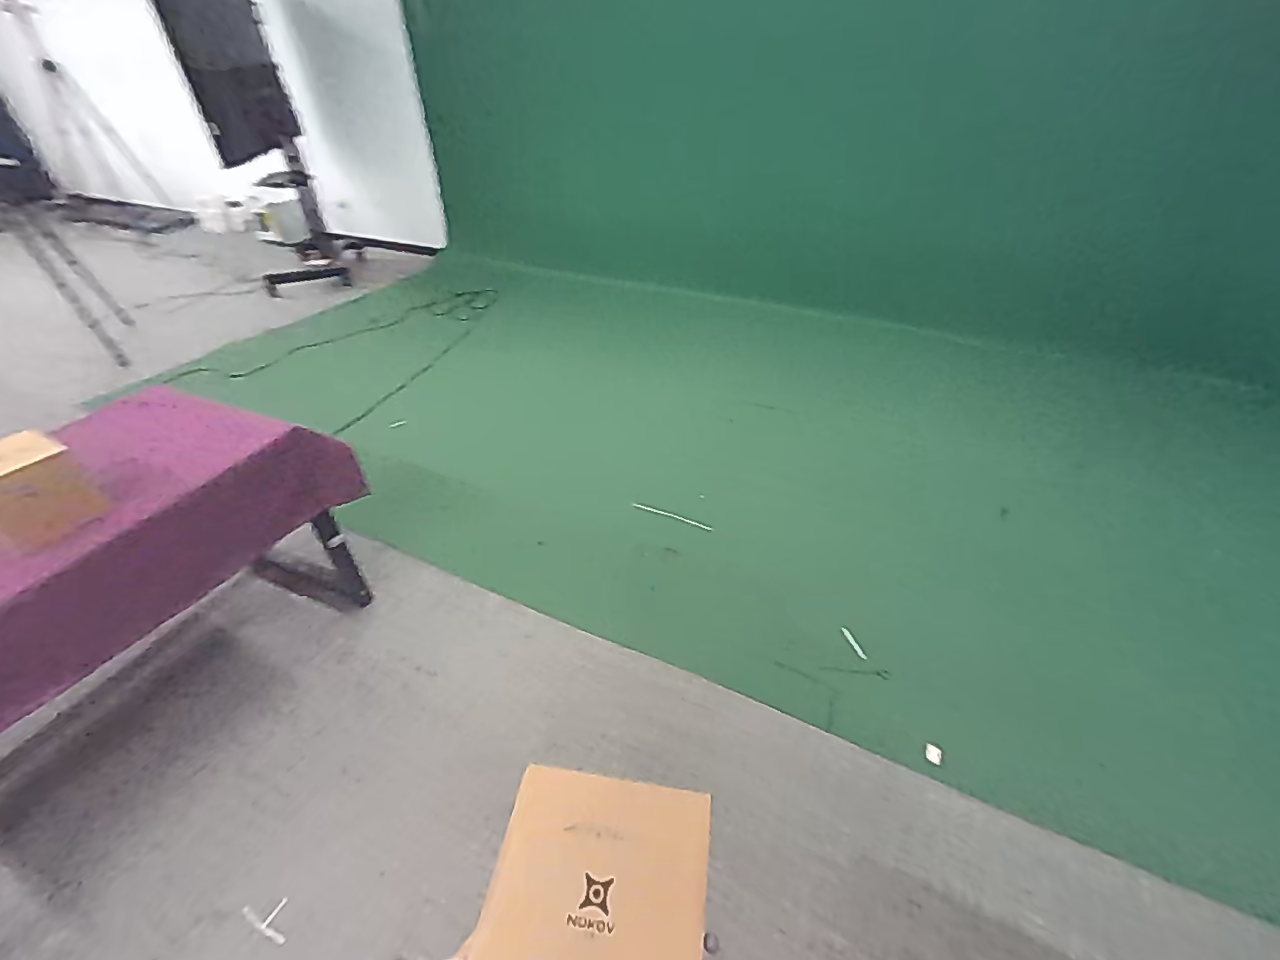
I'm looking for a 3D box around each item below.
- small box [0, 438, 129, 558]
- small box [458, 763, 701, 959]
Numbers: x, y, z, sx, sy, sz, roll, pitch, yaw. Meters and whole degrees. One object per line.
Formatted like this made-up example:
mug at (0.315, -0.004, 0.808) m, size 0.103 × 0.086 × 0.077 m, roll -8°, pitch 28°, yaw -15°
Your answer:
small box at (-1.279, 0.039, 1.165) m, size 0.168 × 0.176 × 0.179 m, roll 18°, pitch 42°, yaw 23°
small box at (-0.039, 0.378, 0.462) m, size 0.168 × 0.176 × 0.179 m, roll 5°, pitch 40°, yaw 7°
